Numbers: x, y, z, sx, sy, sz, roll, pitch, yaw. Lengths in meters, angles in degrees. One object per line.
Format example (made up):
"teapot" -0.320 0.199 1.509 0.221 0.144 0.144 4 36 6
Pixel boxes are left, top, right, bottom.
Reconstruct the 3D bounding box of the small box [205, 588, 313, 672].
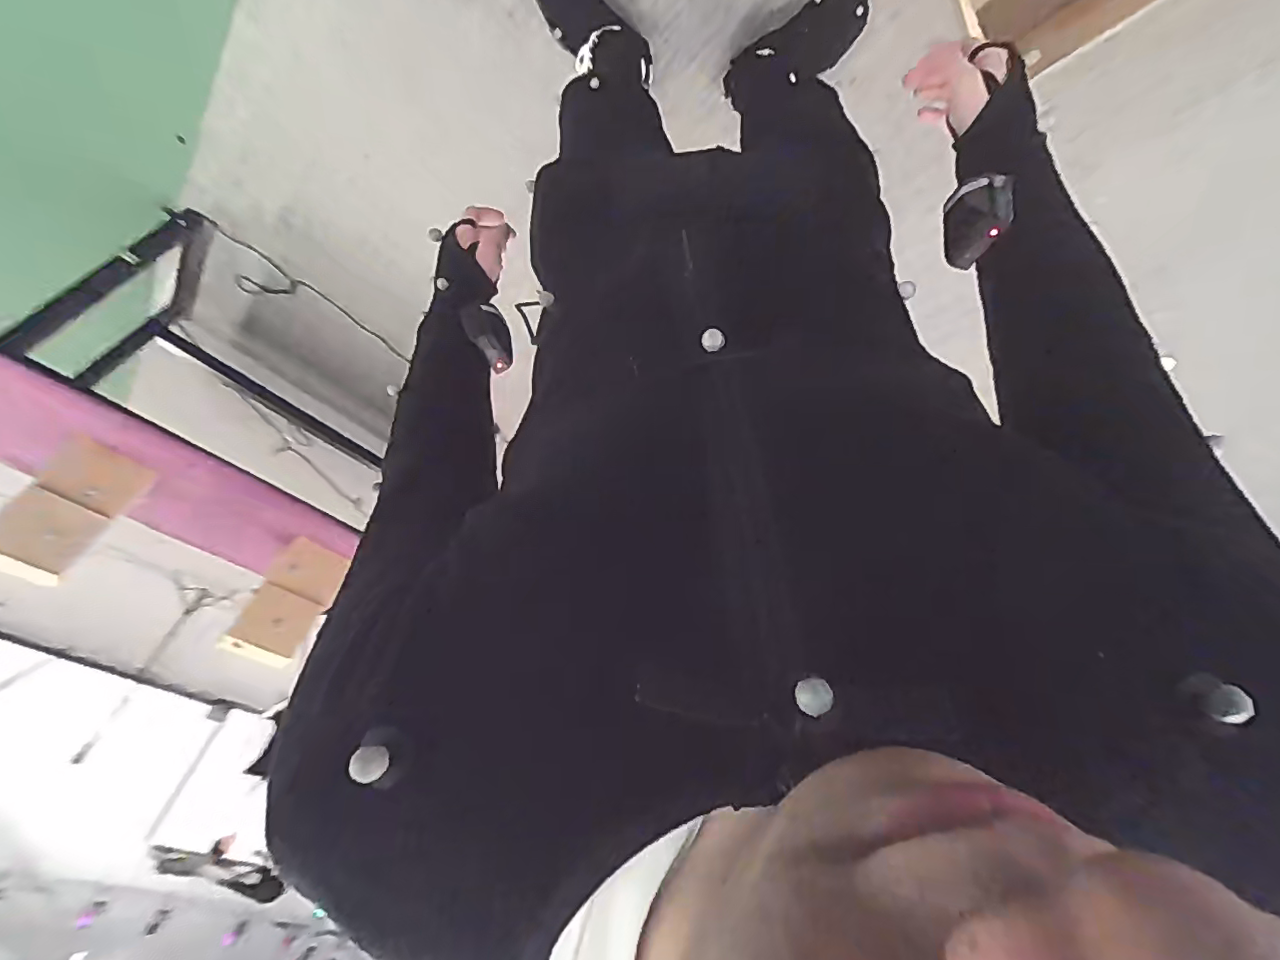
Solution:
"small box" -1.078 0.422 1.536 0.179 0.176 0.168 36 135 -28

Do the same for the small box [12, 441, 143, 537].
"small box" -1.470 0.019 1.410 0.168 0.176 0.179 -22 132 34

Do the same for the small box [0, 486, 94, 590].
"small box" -1.487 0.141 1.301 0.168 0.176 0.179 -22 132 34
